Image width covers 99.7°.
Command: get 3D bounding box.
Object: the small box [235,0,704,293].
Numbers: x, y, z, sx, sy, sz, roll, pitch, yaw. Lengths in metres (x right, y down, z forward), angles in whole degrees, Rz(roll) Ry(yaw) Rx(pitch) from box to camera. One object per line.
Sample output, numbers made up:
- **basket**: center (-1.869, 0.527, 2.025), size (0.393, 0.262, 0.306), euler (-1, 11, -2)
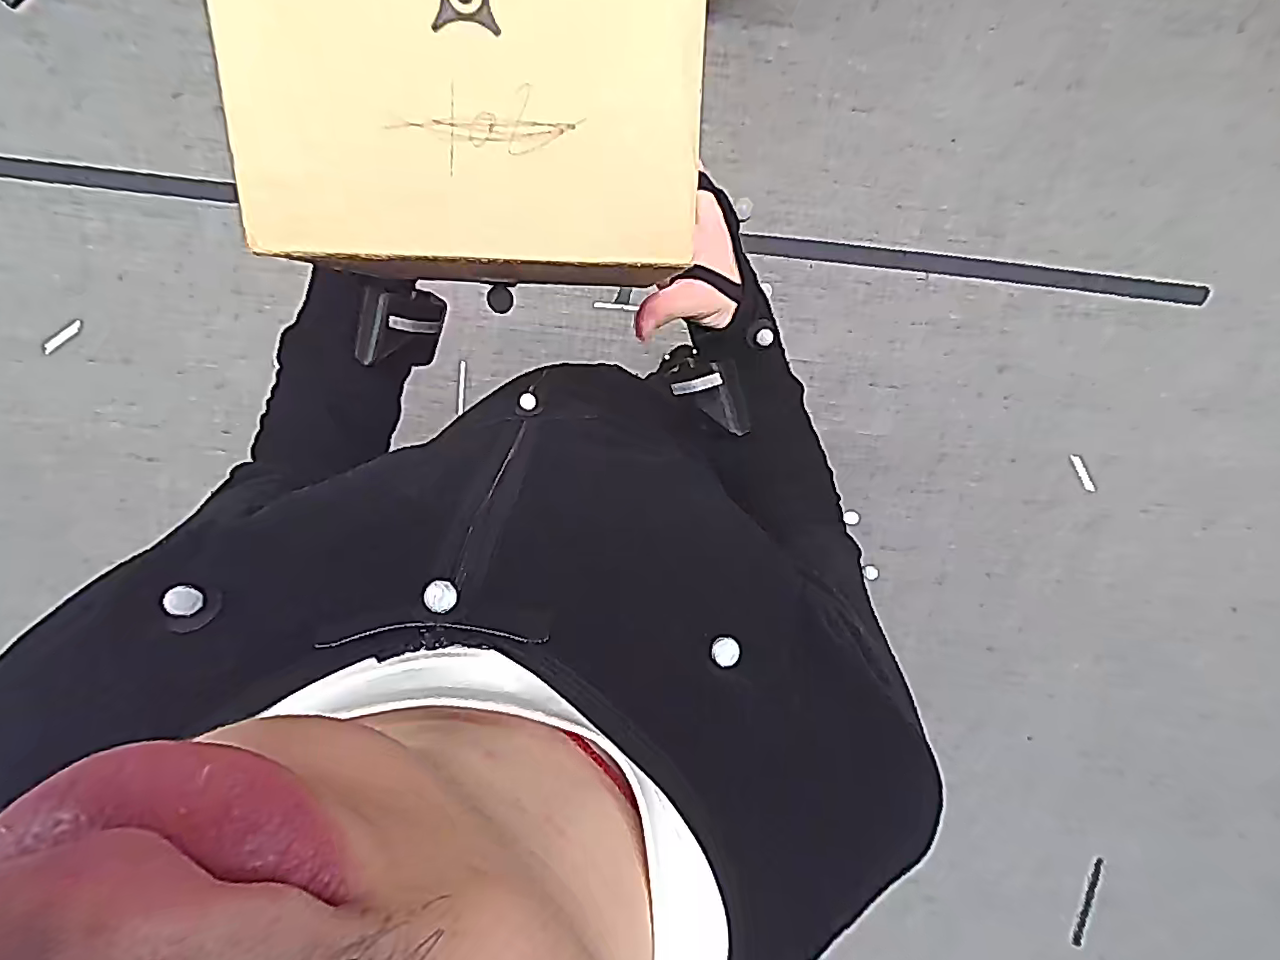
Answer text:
- **small box**: center (-0.065, -0.193, 0.268), size (0.168, 0.176, 0.179), euler (1, 107, -5)
